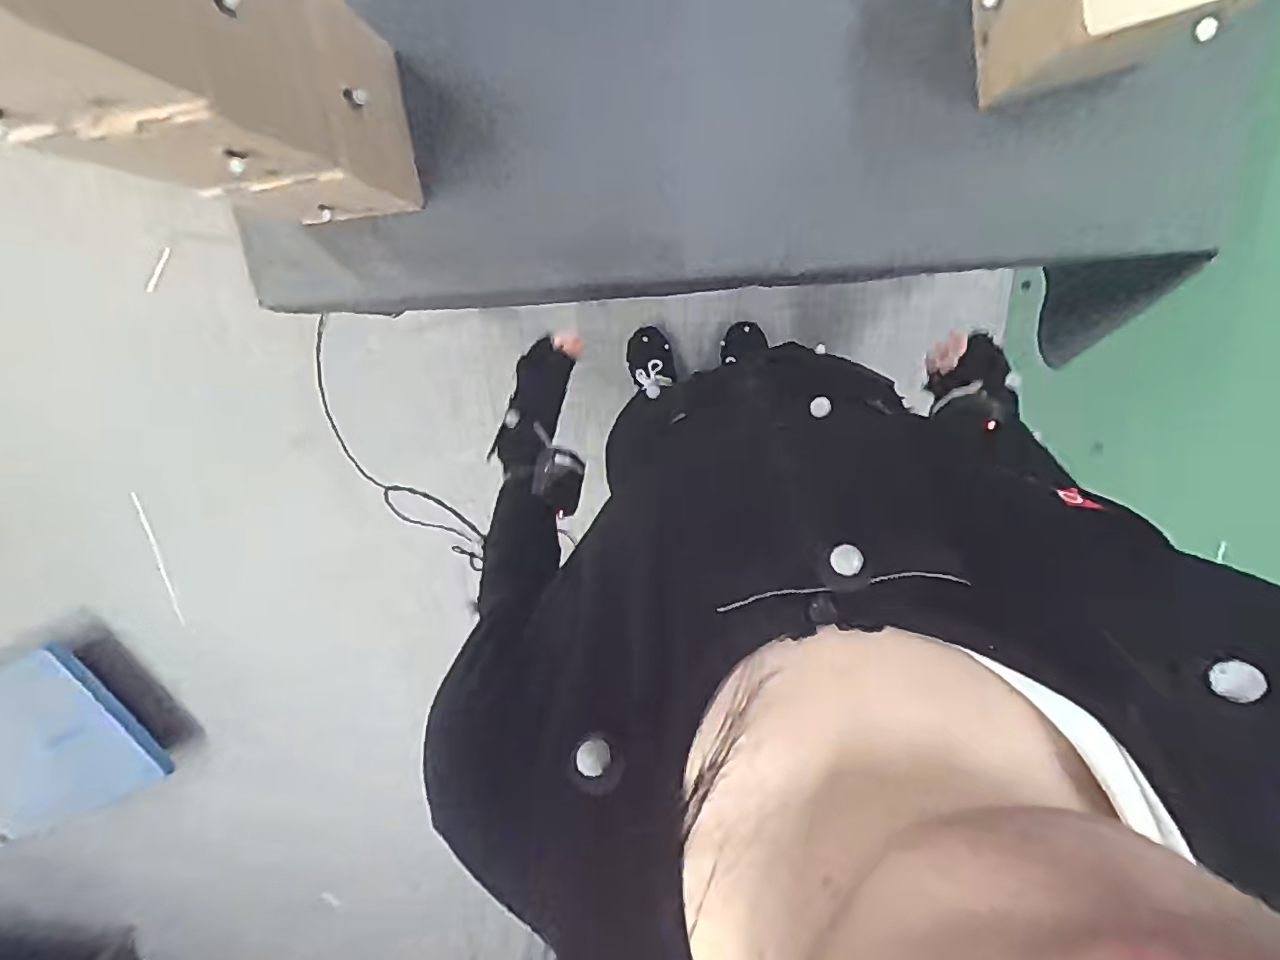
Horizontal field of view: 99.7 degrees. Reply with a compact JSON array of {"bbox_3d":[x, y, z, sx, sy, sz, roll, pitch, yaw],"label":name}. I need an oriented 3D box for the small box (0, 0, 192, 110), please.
[{"bbox_3d":[-0.386,-0.314,0.272,0.168,0.176,0.179,-5,107,5],"label":"small box"}]

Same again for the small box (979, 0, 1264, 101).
[{"bbox_3d":[0.442,-0.484,0.489,0.179,0.176,0.168,-11,106,9],"label":"small box"}]

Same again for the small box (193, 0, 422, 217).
[{"bbox_3d":[-0.364,-0.401,0.587,0.168,0.176,0.179,-4,107,6],"label":"small box"}]

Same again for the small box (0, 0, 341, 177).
[{"bbox_3d":[-0.374,-0.356,0.431,0.168,0.176,0.179,-3,107,5],"label":"small box"}]
